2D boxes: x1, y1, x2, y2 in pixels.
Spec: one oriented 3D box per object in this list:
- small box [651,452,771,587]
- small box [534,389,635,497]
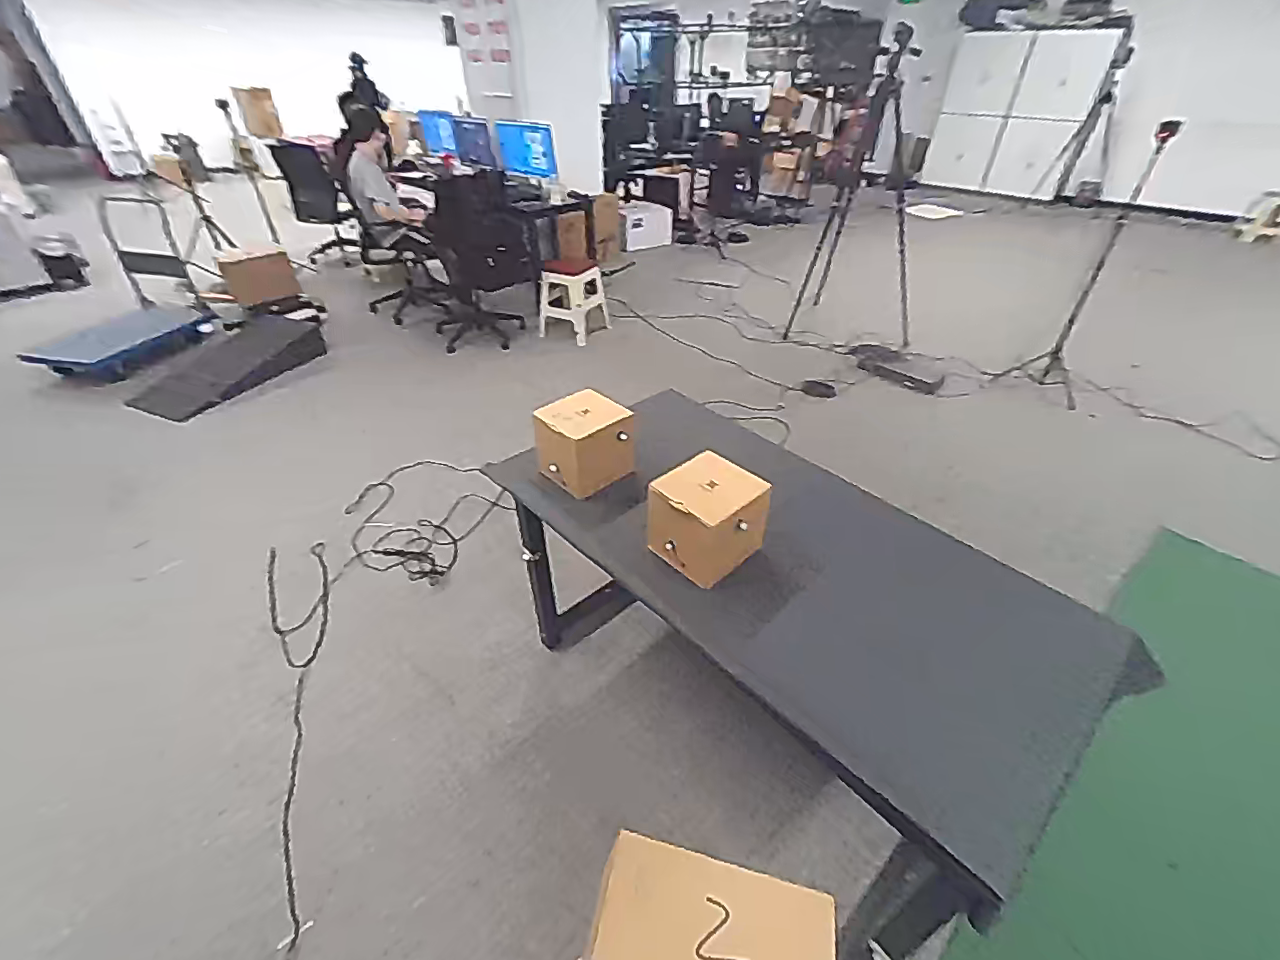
[{"bbox_3d":[0.133,0.077,1.078,0.179,0.176,0.168,-29,47,-33],"label":"small box"},{"bbox_3d":[-0.131,-0.090,1.285,0.179,0.176,0.168,-30,47,-33],"label":"small box"}]
